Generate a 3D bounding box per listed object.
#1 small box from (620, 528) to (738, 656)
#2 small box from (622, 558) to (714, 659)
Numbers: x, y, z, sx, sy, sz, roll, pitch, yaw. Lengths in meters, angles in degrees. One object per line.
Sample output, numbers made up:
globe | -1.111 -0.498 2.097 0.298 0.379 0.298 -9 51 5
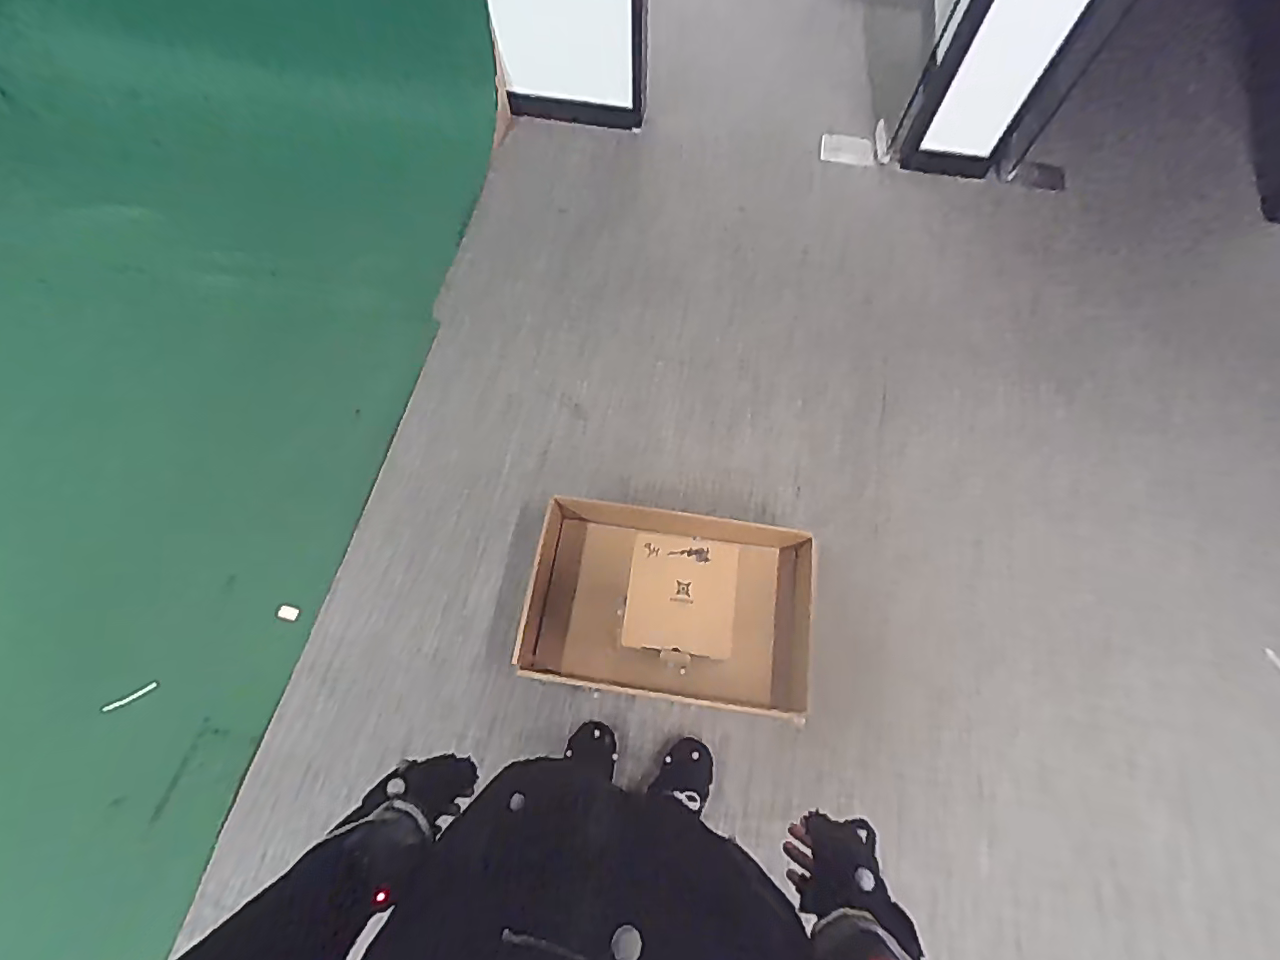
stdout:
small box | 0.062 0.194 0.904 0.168 0.176 0.179 8 70 2
small box | 0.059 0.247 1.041 0.168 0.176 0.179 5 70 2
